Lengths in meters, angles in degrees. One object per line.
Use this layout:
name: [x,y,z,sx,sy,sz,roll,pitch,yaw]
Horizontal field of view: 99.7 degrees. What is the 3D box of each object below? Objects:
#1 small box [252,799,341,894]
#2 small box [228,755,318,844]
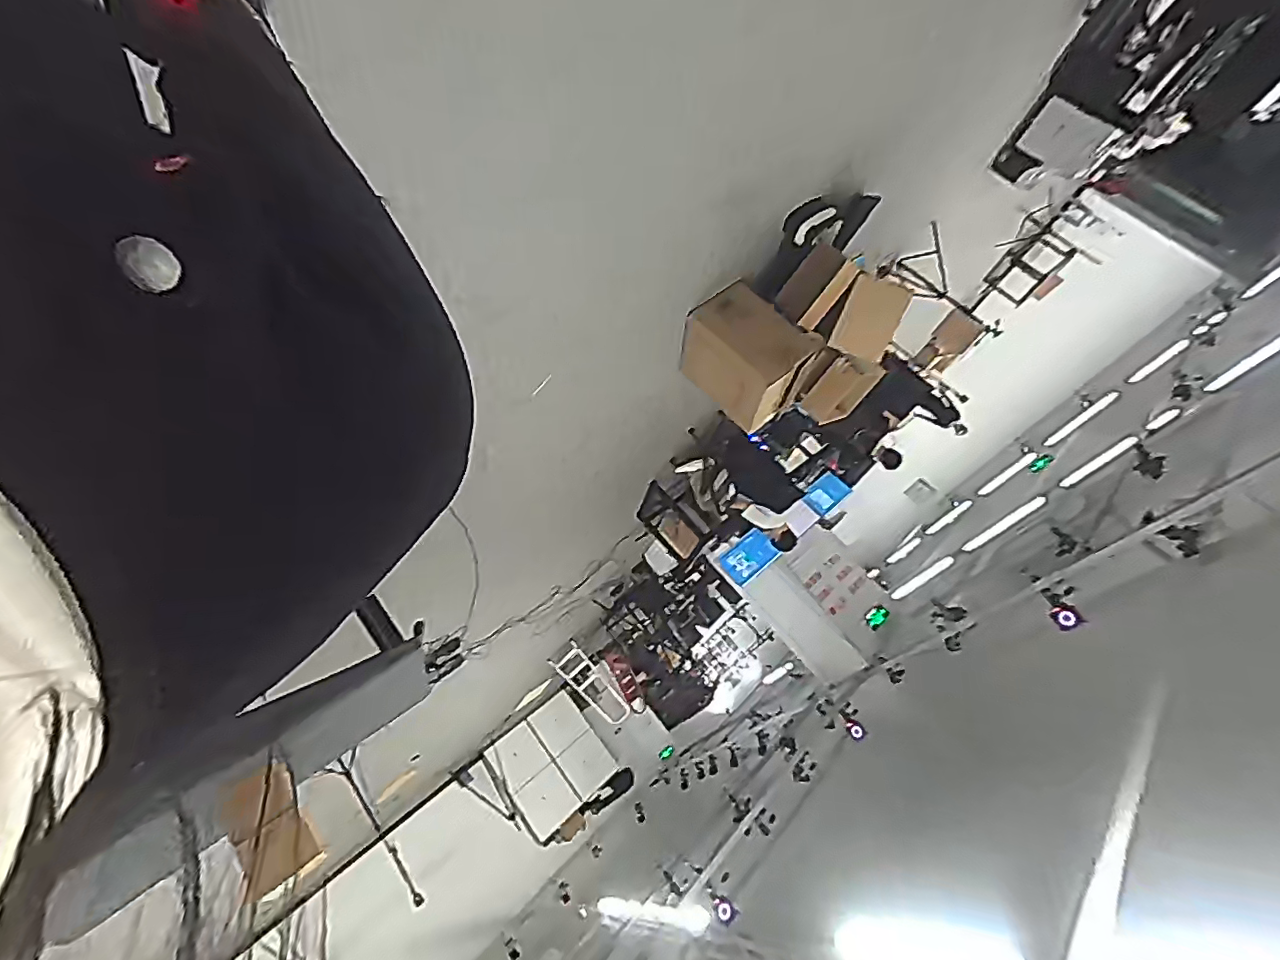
small box: [-1.056,1.124,1.659,0.179,0.176,0.168,-30,160,-34]
small box: [-1.163,1.010,1.710,0.179,0.176,0.168,-33,162,-33]
